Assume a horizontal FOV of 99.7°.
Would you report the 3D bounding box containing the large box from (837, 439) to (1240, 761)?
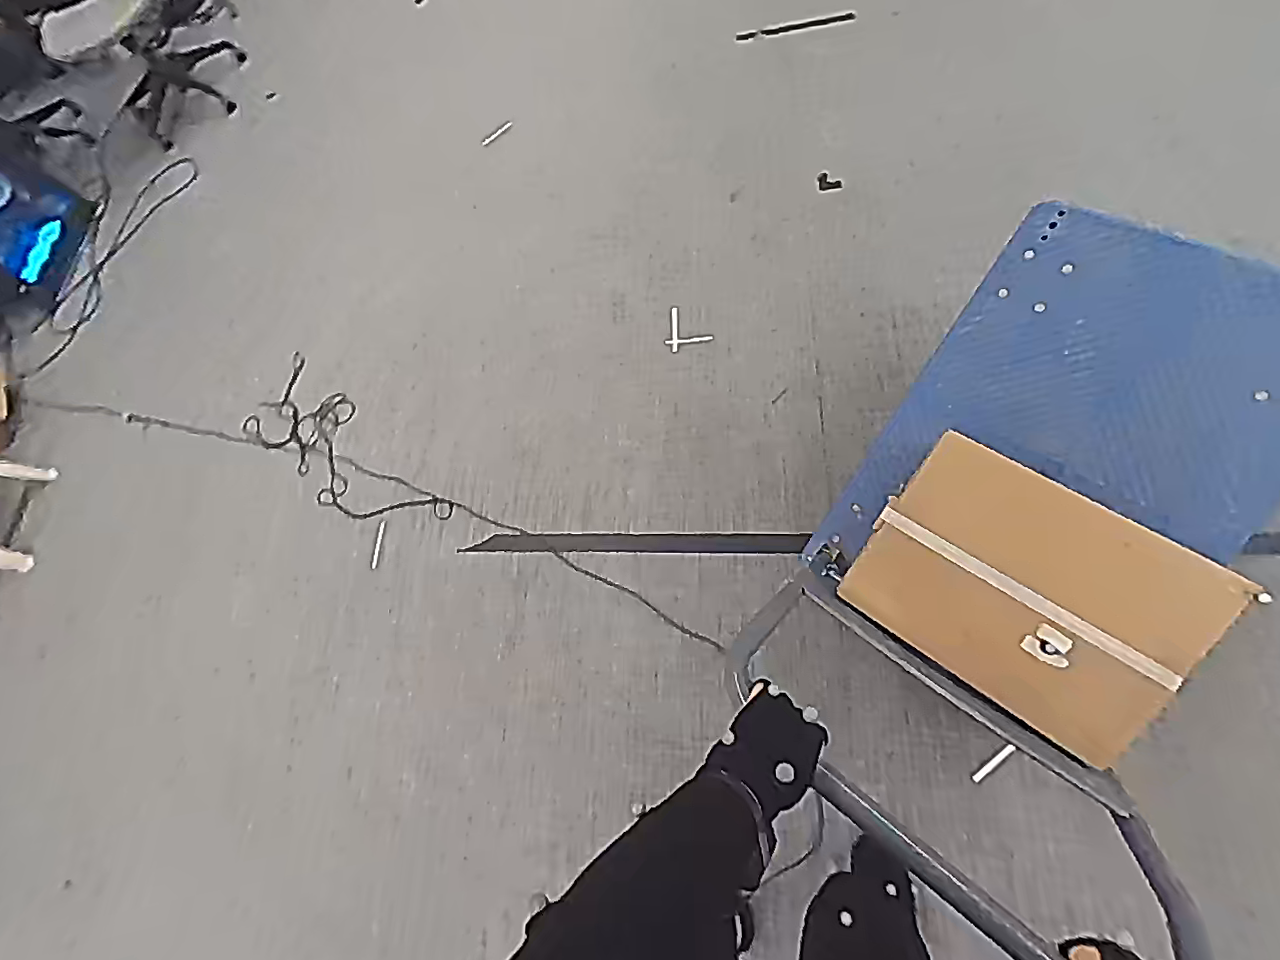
[{"bbox_3d":[0.607,0.167,0.930,0.408,0.320,0.320,34,103,21],"label":"large box"}]
